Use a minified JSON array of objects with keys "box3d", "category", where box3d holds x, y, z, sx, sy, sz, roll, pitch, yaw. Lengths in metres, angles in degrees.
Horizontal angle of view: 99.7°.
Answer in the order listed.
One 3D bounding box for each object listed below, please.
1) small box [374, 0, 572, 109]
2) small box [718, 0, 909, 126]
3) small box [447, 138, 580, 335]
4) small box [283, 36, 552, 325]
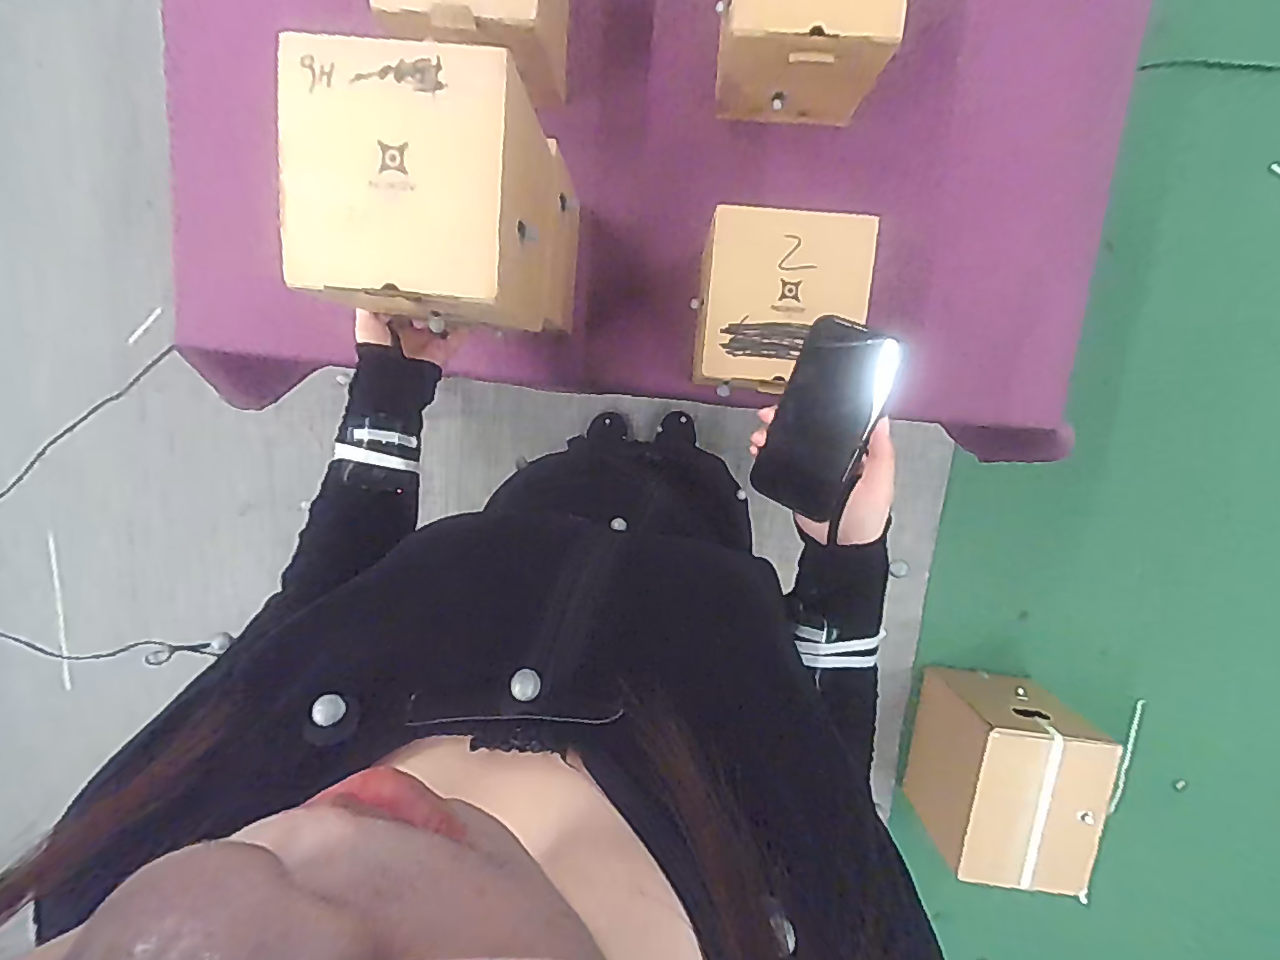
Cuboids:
[{"box3d":[-0.170,-0.546,0.594,0.168,0.176,0.179,6,99,0],"category":"small box"},{"box3d":[0.179,-0.522,0.586,0.168,0.176,0.179,3,100,2],"category":"small box"},{"box3d":[-0.166,-0.275,0.635,0.168,0.176,0.179,5,99,2],"category":"small box"},{"box3d":[-0.176,-0.237,0.475,0.168,0.176,0.179,5,100,1],"category":"small box"}]
